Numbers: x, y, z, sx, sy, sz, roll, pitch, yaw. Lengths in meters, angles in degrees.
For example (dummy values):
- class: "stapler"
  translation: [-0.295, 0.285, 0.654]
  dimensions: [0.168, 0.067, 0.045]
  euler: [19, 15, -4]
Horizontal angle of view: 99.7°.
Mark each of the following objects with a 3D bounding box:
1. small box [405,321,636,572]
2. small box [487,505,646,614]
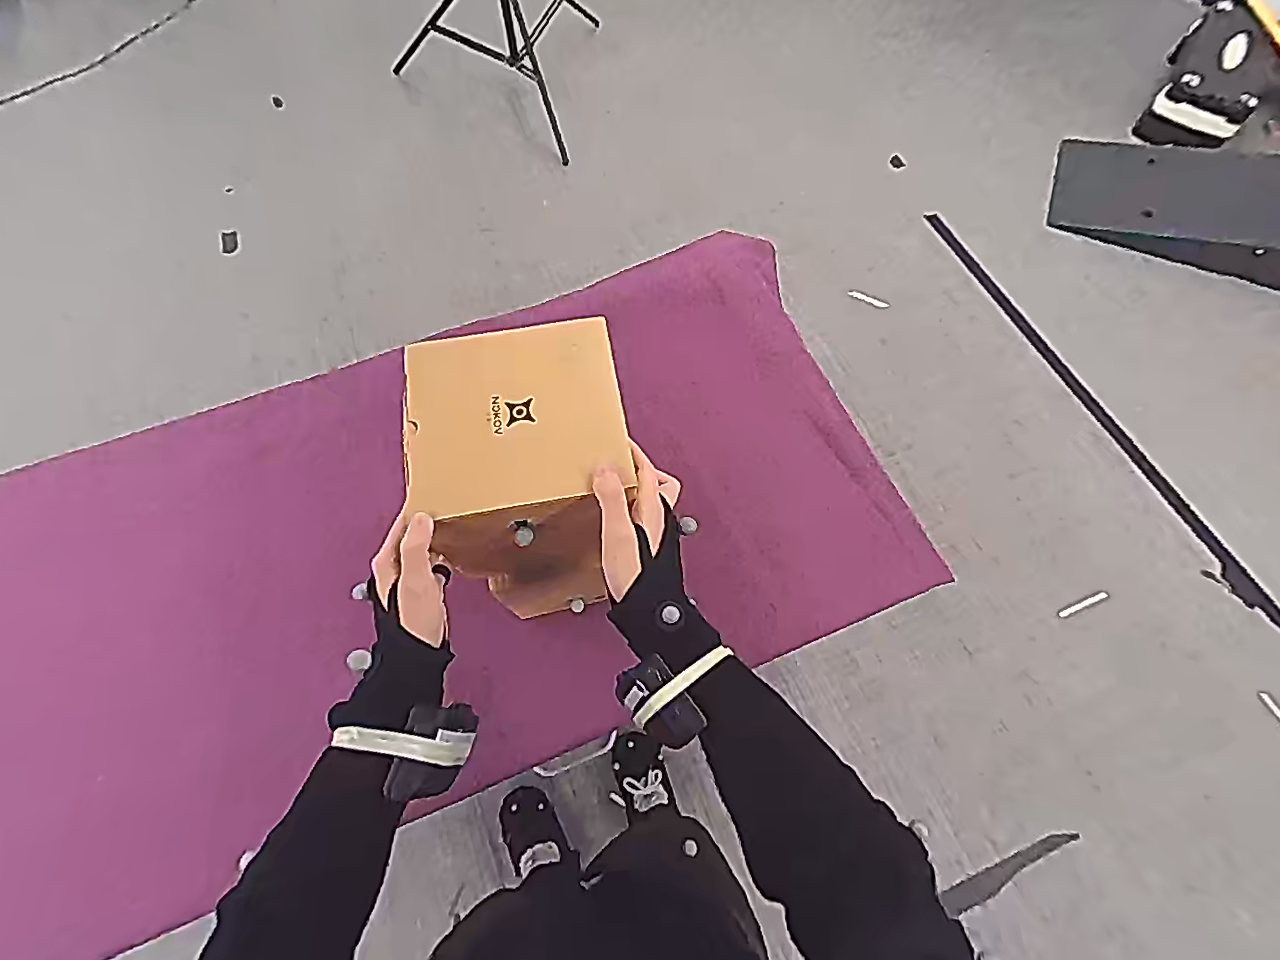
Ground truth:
- class: "small box"
  translation: [-0.102, -0.021, 0.511]
  dimensions: [0.179, 0.176, 0.168]
  euler: [-10, 68, -3]
- class: "small box"
  translation: [-0.092, 0.050, 0.657]
  dimensions: [0.168, 0.176, 0.179]
  euler: [-12, 68, -5]
